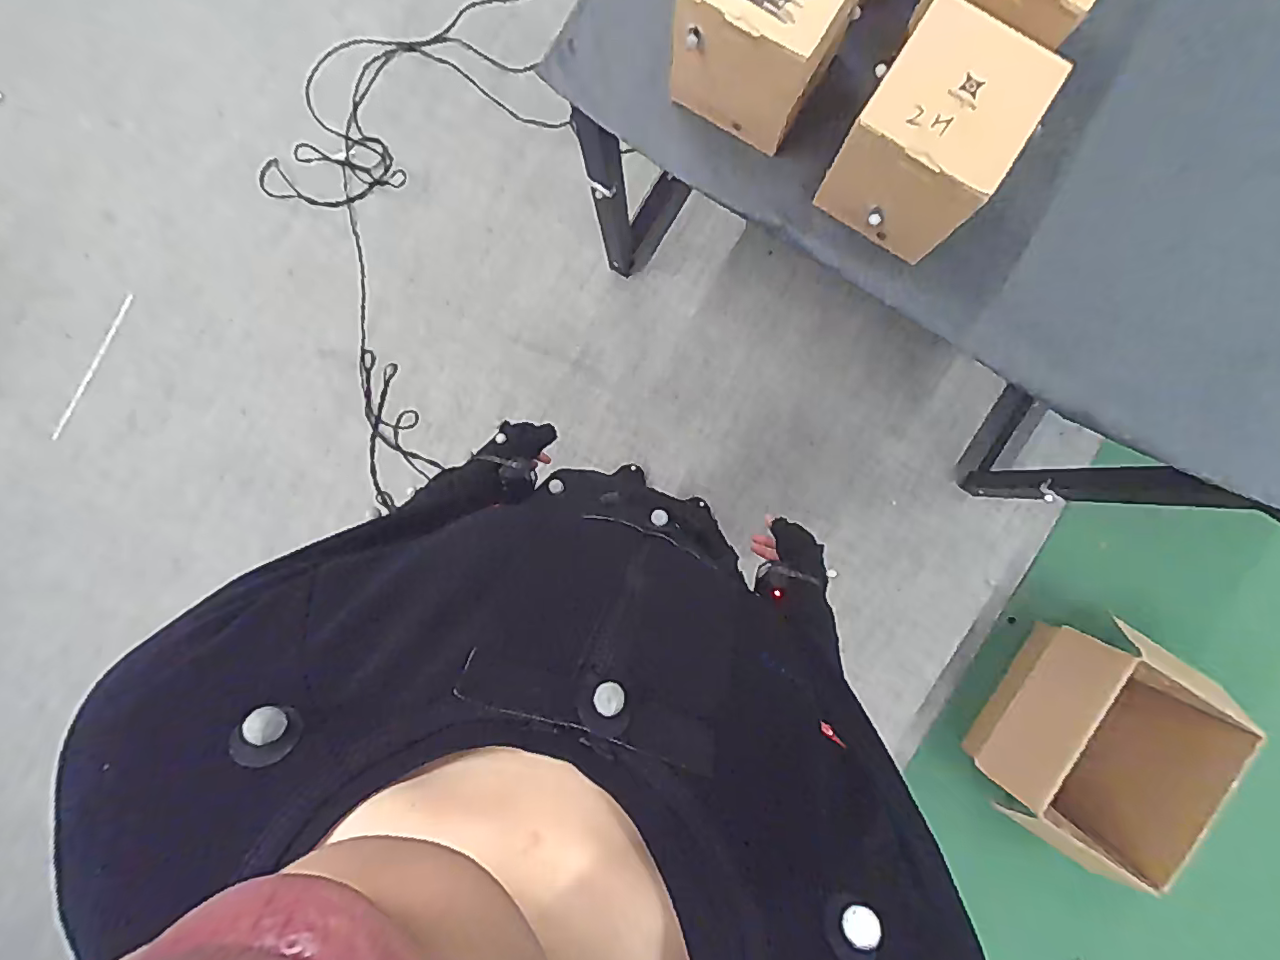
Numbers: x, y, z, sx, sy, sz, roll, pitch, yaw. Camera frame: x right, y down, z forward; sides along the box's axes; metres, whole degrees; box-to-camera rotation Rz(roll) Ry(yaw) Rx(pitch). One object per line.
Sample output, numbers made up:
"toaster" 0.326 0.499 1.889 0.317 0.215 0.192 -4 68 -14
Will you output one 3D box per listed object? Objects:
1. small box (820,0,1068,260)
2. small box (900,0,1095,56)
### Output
"small box" 0.348 -0.411 0.660 0.168 0.176 0.179 33 89 2
"small box" 0.458 -0.612 0.661 0.168 0.176 0.179 33 92 1
